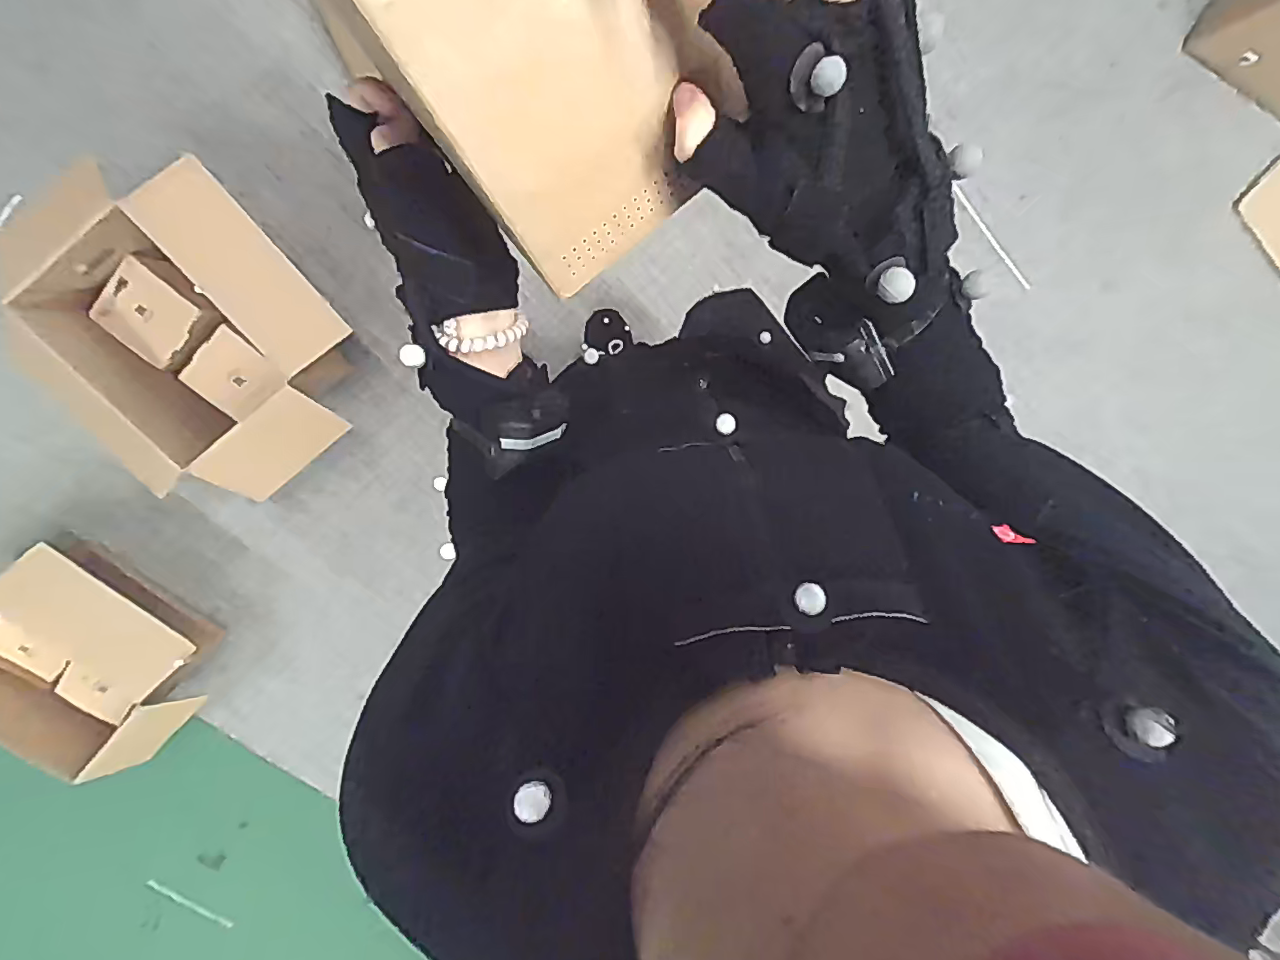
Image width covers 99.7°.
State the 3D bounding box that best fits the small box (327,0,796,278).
[{"bbox_3d":[-0.043,-0.232,0.244,0.179,0.176,0.168,-38,70,2],"label":"small box"}]
